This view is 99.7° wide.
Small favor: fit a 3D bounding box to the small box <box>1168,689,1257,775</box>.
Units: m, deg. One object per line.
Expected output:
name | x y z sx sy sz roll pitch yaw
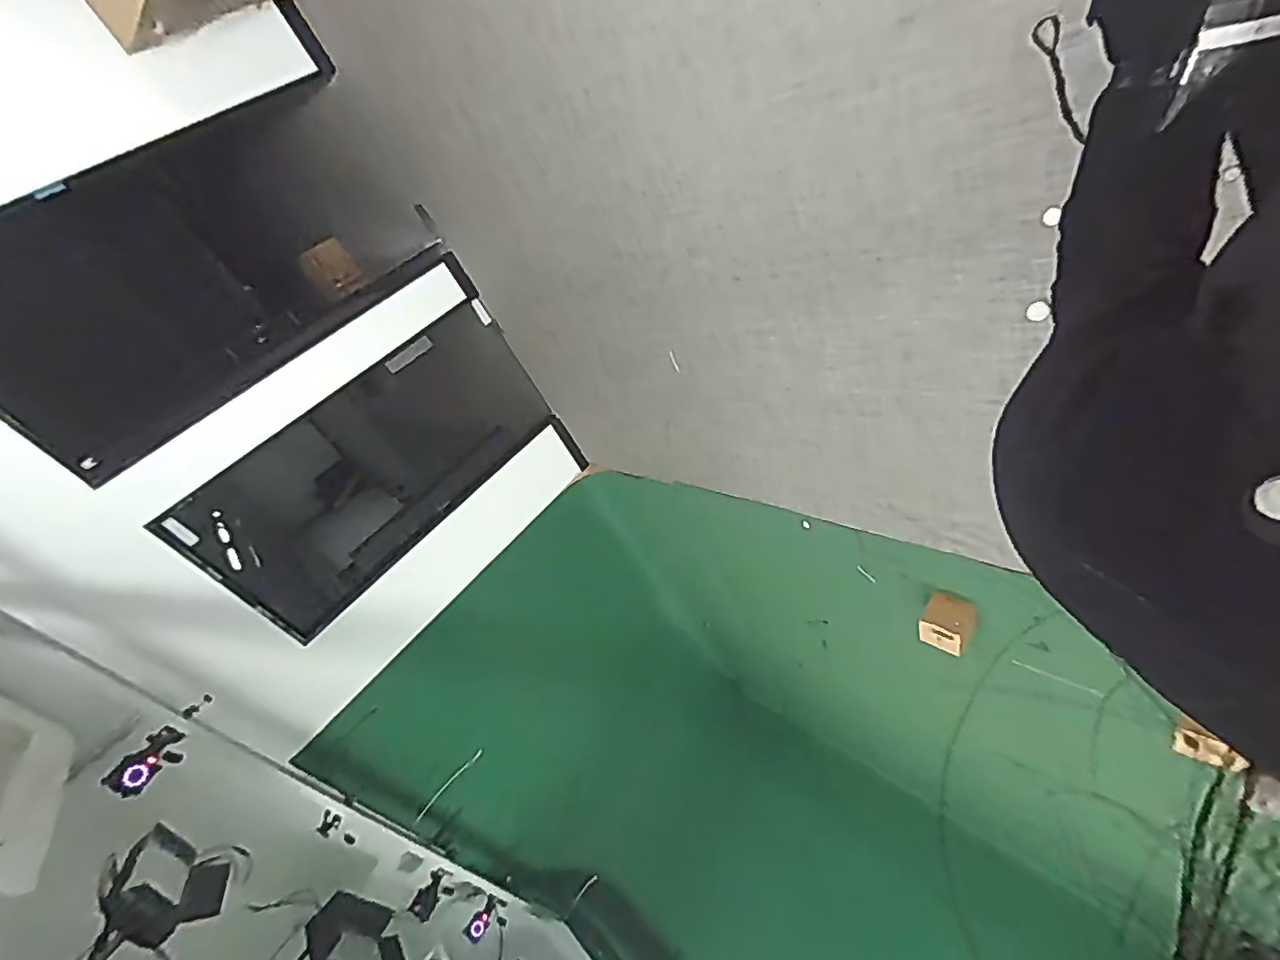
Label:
small box | 1.897 0.827 1.794 0.179 0.176 0.168 11 141 48
